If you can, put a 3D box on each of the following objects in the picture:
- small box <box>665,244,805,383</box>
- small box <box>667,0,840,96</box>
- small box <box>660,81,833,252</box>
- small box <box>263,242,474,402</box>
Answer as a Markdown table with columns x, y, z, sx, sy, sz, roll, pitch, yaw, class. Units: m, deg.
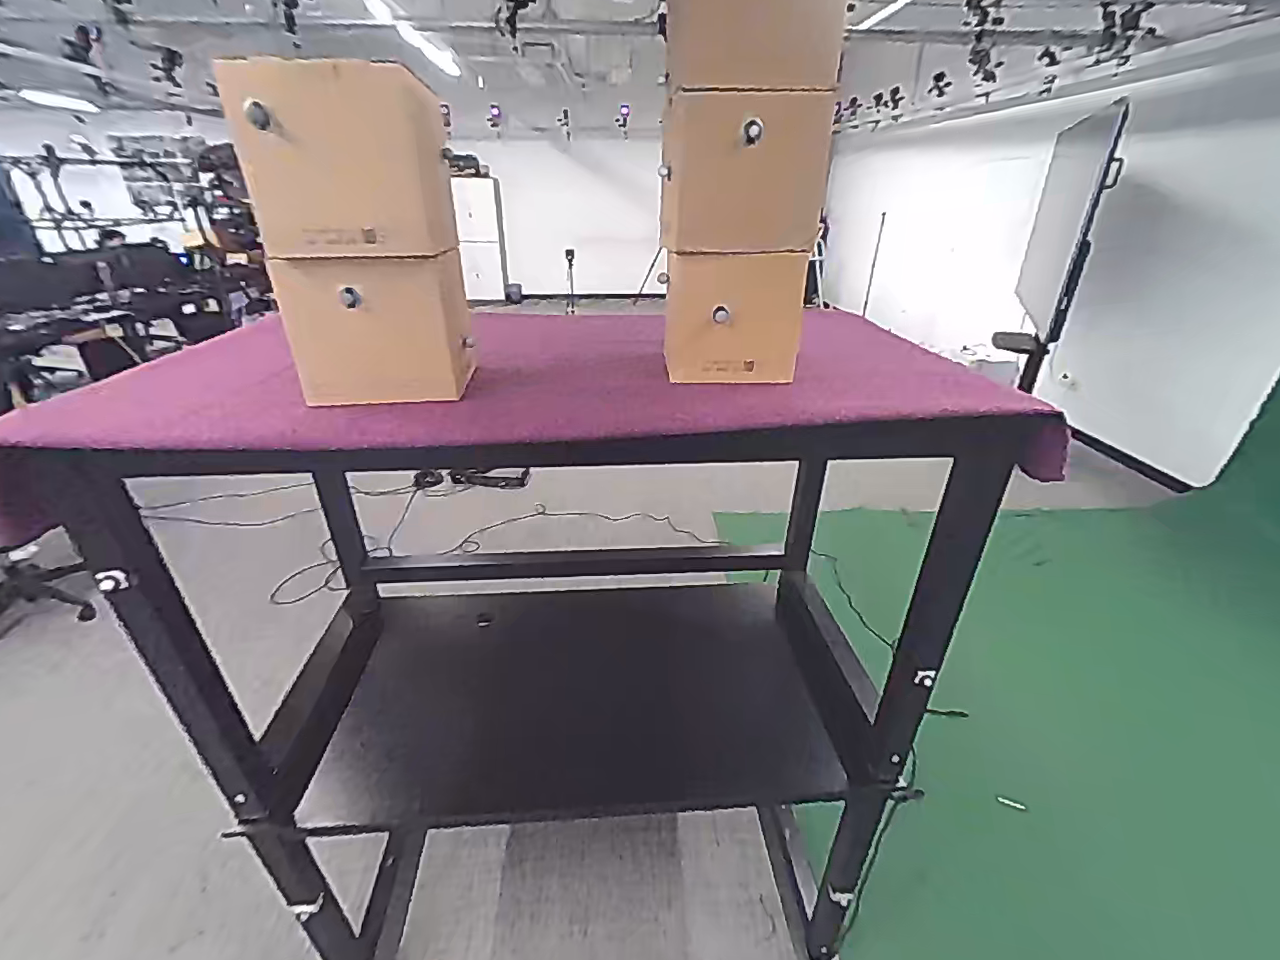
| x | y | z | sx | sy | sz | roll | pitch | yaw | class |
| --- | --- | --- | --- | --- | --- | --- | --- | --- | --- |
| 0.121 | -0.238 | 0.761 | 0.168 | 0.176 | 0.179 | 0 | 27 | 0 | small box |
| 0.121 | -0.531 | 0.615 | 0.179 | 0.176 | 0.168 | -1 | 27 | -2 | small box |
| 0.119 | -0.380 | 0.680 | 0.179 | 0.176 | 0.168 | -2 | 27 | -4 | small box |
| -0.318 | -0.201 | 0.678 | 0.179 | 0.176 | 0.168 | -3 | 28 | -7 | small box |
